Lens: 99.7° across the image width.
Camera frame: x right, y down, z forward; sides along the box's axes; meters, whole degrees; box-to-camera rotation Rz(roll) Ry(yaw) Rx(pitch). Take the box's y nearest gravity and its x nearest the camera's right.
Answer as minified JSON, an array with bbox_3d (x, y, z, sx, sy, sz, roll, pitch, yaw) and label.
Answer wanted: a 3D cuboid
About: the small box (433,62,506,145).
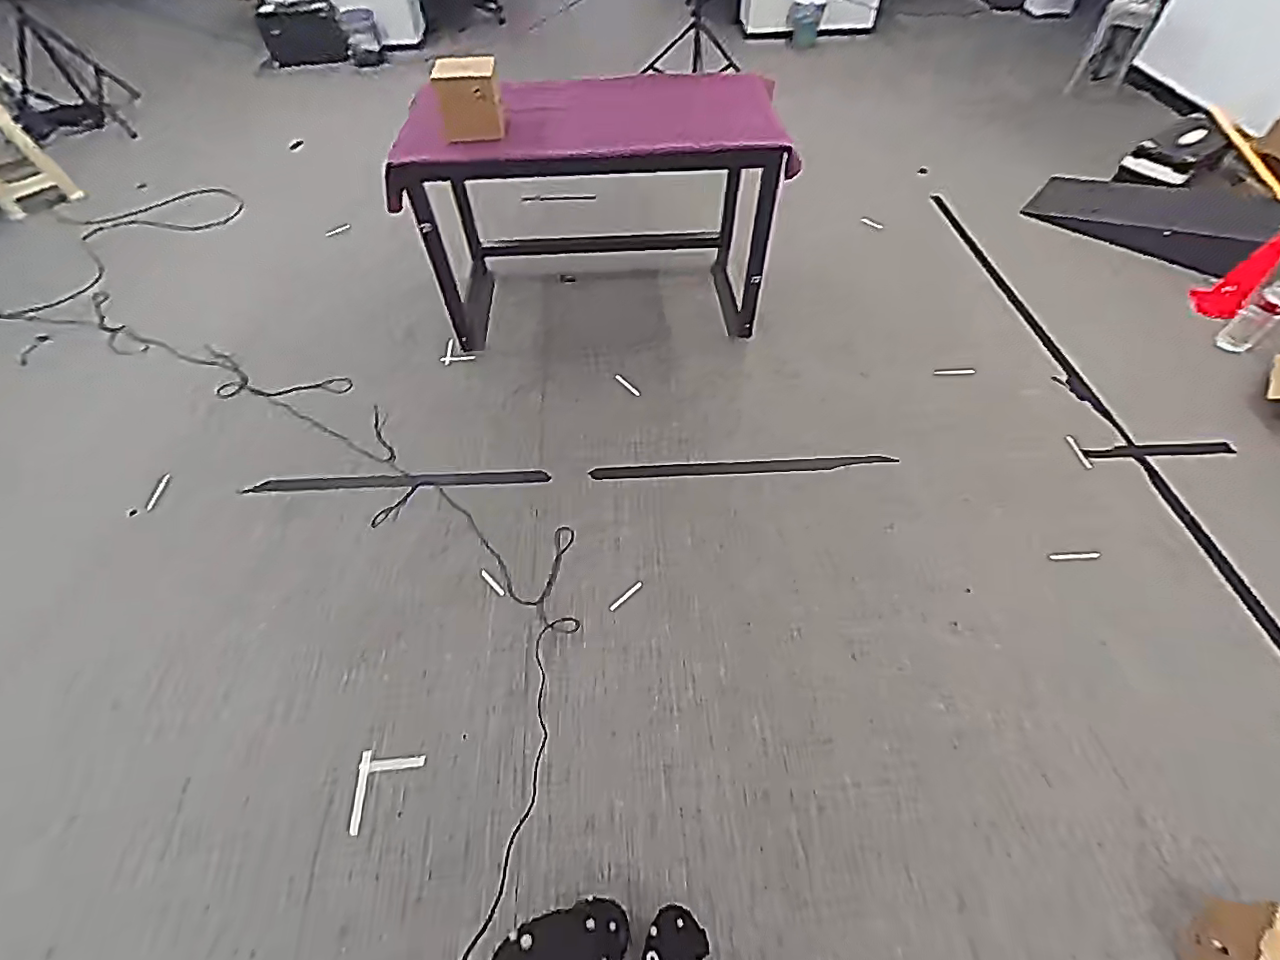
[{"bbox_3d":[-0.512,-1.150,1.654,0.179,0.176,0.168,-5,52,-3],"label":"small box"}]

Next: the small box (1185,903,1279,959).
[{"bbox_3d":[1.206,0.943,1.017,0.168,0.176,0.179,-36,62,-21],"label":"small box"}]
